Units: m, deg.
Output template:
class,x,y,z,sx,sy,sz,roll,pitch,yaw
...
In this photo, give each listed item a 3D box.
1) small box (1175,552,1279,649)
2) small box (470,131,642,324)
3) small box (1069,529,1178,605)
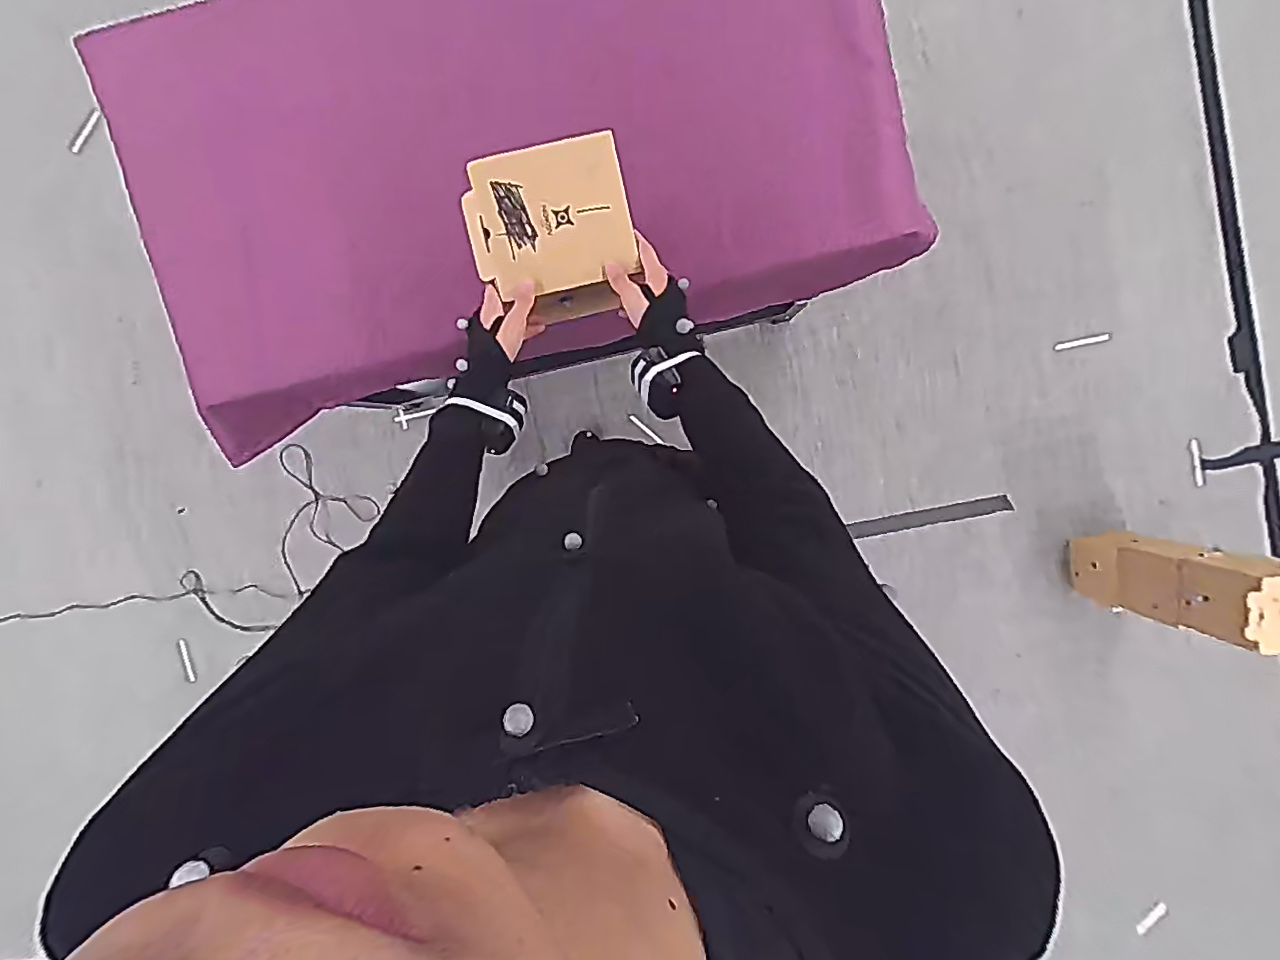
class,x,y,z,sx,sy,sz,roll,pitch,yaw
small box,1.357,0.259,1.197,0.179,0.176,0.168,-3,96,2
small box,-0.099,-0.315,0.713,0.179,0.176,0.168,-13,96,-1
small box,1.354,0.241,1.527,0.179,0.176,0.168,-8,95,2
